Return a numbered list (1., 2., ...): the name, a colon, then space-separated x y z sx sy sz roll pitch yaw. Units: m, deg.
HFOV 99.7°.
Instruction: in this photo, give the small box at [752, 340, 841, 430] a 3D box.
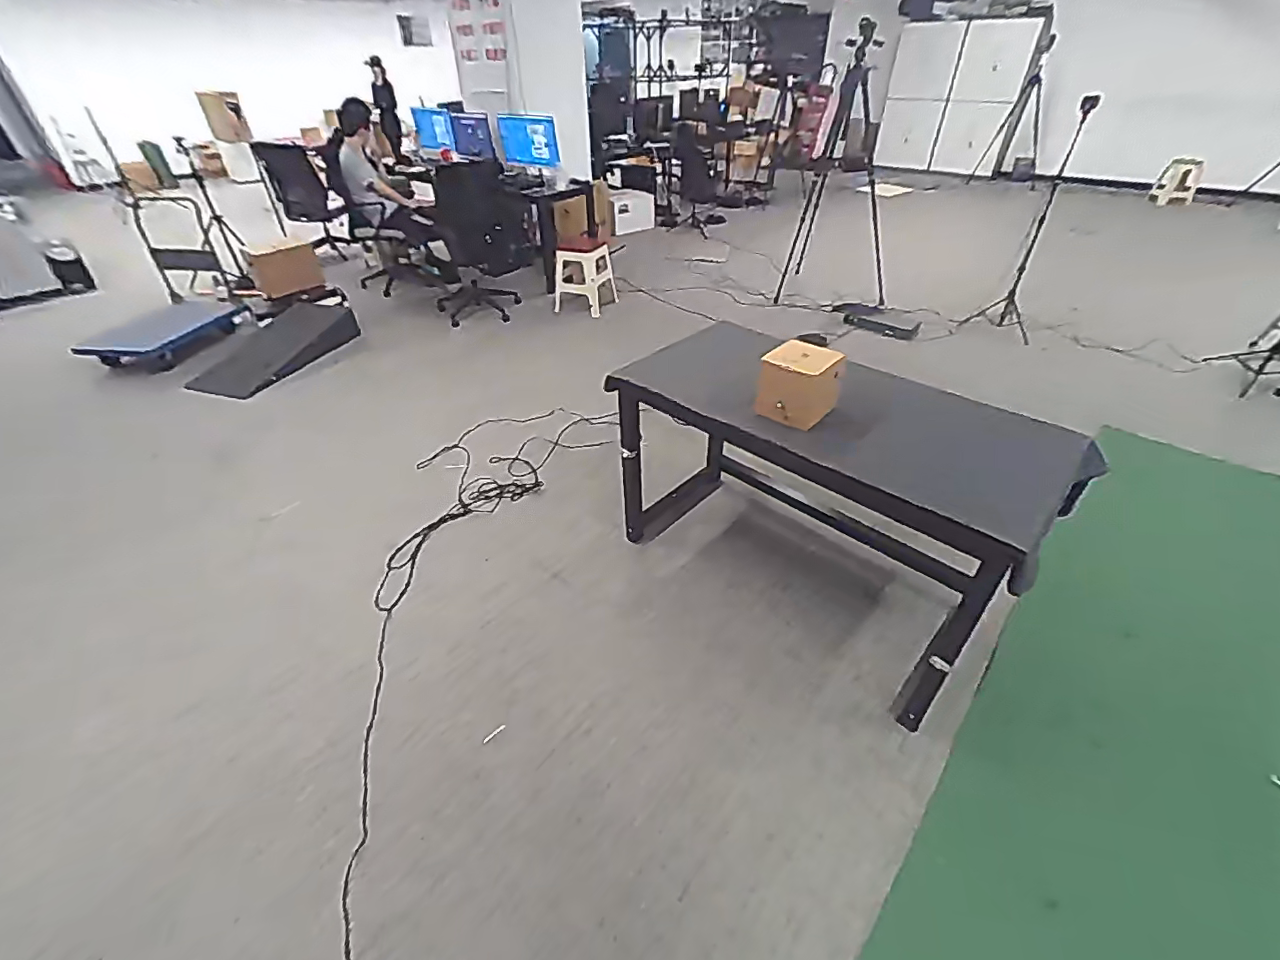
1. small box: 0.428 -0.265 1.502 0.168 0.176 0.179 28 46 32
